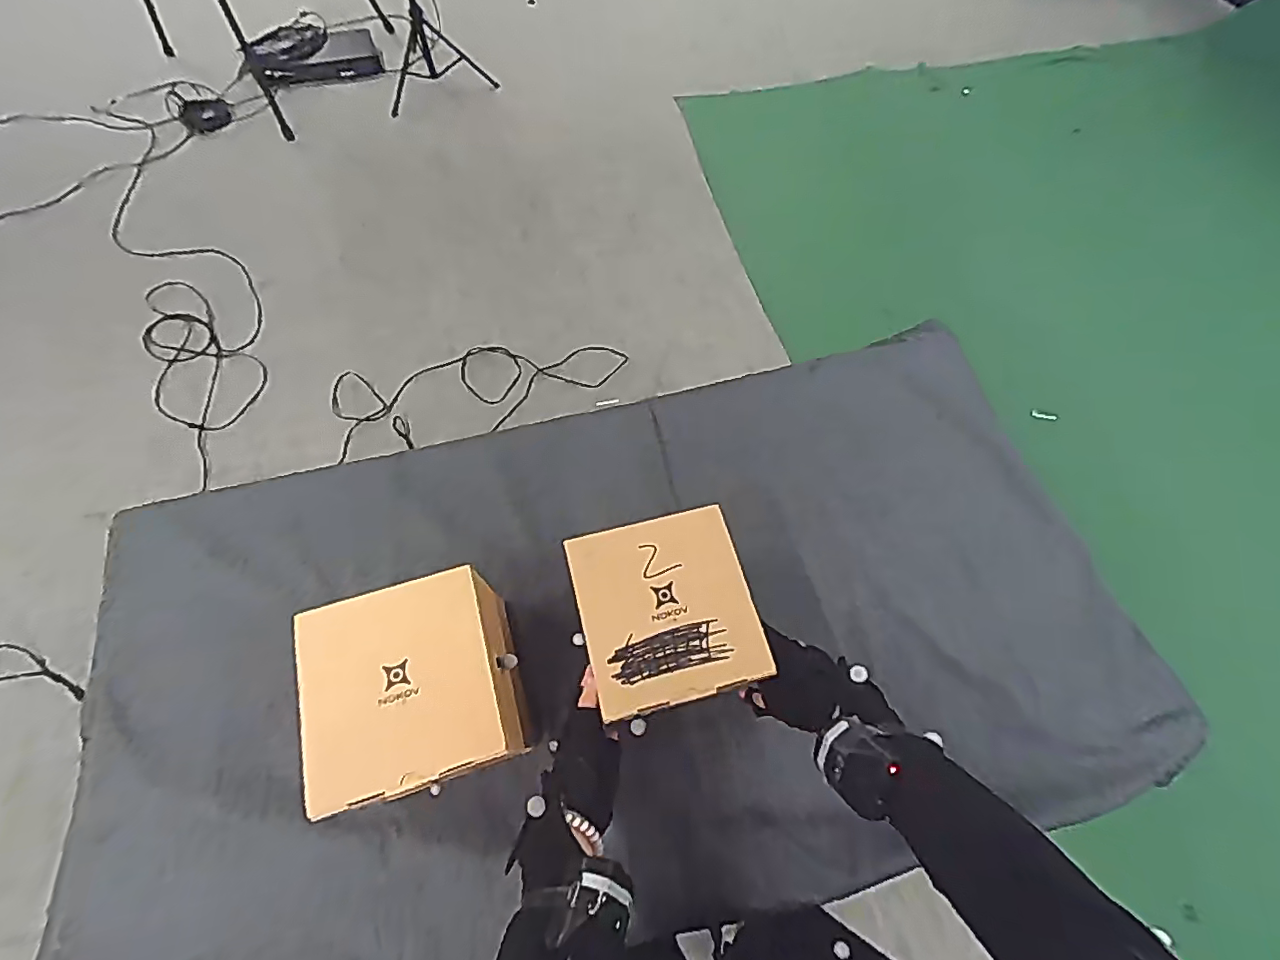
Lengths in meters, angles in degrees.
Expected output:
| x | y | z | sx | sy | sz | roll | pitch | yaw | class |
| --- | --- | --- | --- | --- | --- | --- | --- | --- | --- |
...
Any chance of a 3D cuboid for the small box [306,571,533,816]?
| x | y | z | sx | sy | sz | roll | pitch | yaw | class |
| --- | --- | --- | --- | --- | --- | --- | --- | --- | --- |
| -0.218 | 0.219 | 0.565 | 0.168 | 0.176 | 0.179 | -16 | 67 | -9 | small box |
